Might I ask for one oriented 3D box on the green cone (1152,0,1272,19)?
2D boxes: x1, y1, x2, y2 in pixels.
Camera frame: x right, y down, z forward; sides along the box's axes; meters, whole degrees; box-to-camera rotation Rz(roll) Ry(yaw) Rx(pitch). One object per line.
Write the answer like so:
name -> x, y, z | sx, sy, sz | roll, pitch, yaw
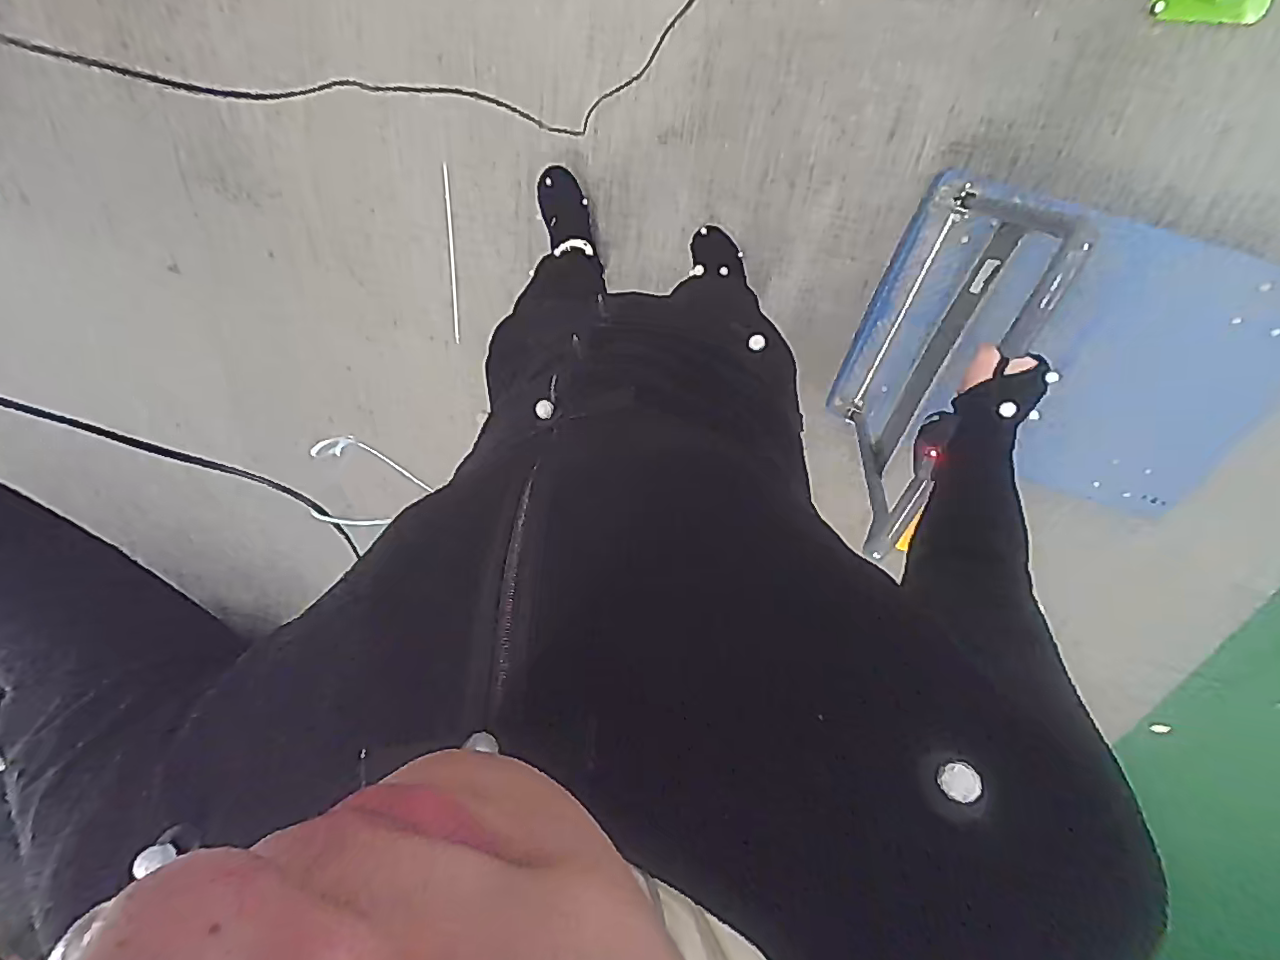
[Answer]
green cone -> 1.034, -0.873, 0.819 | 0.200, 0.368, 0.202 | 8, 120, 8
